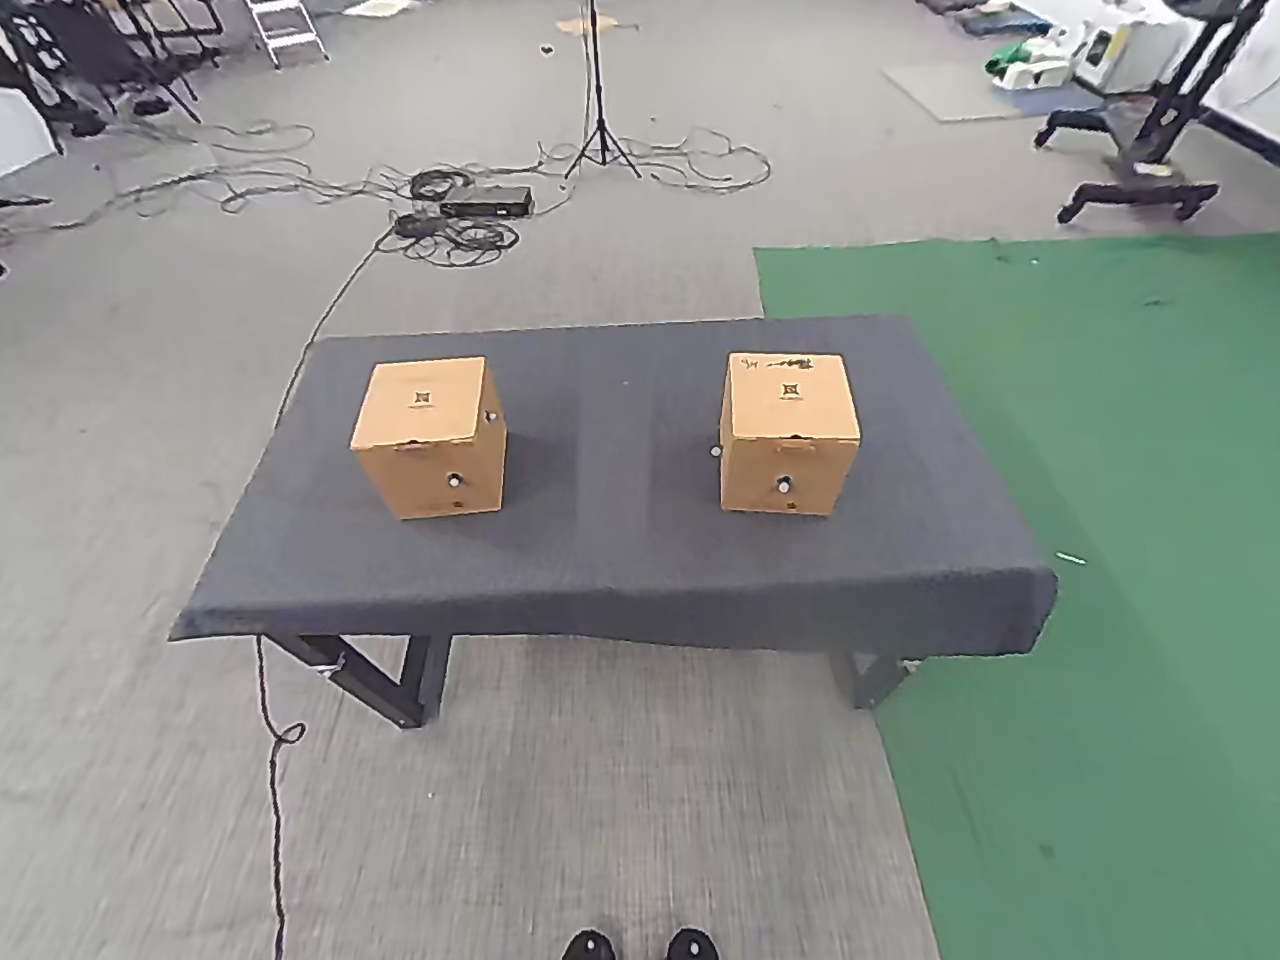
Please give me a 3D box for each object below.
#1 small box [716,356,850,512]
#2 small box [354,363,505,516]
[{"bbox_3d":[0.206,-0.066,0.823,0.168,0.176,0.179,2,53,4],"label":"small box"},{"bbox_3d":[-0.311,-0.057,0.842,0.168,0.176,0.179,-5,50,-4],"label":"small box"}]
